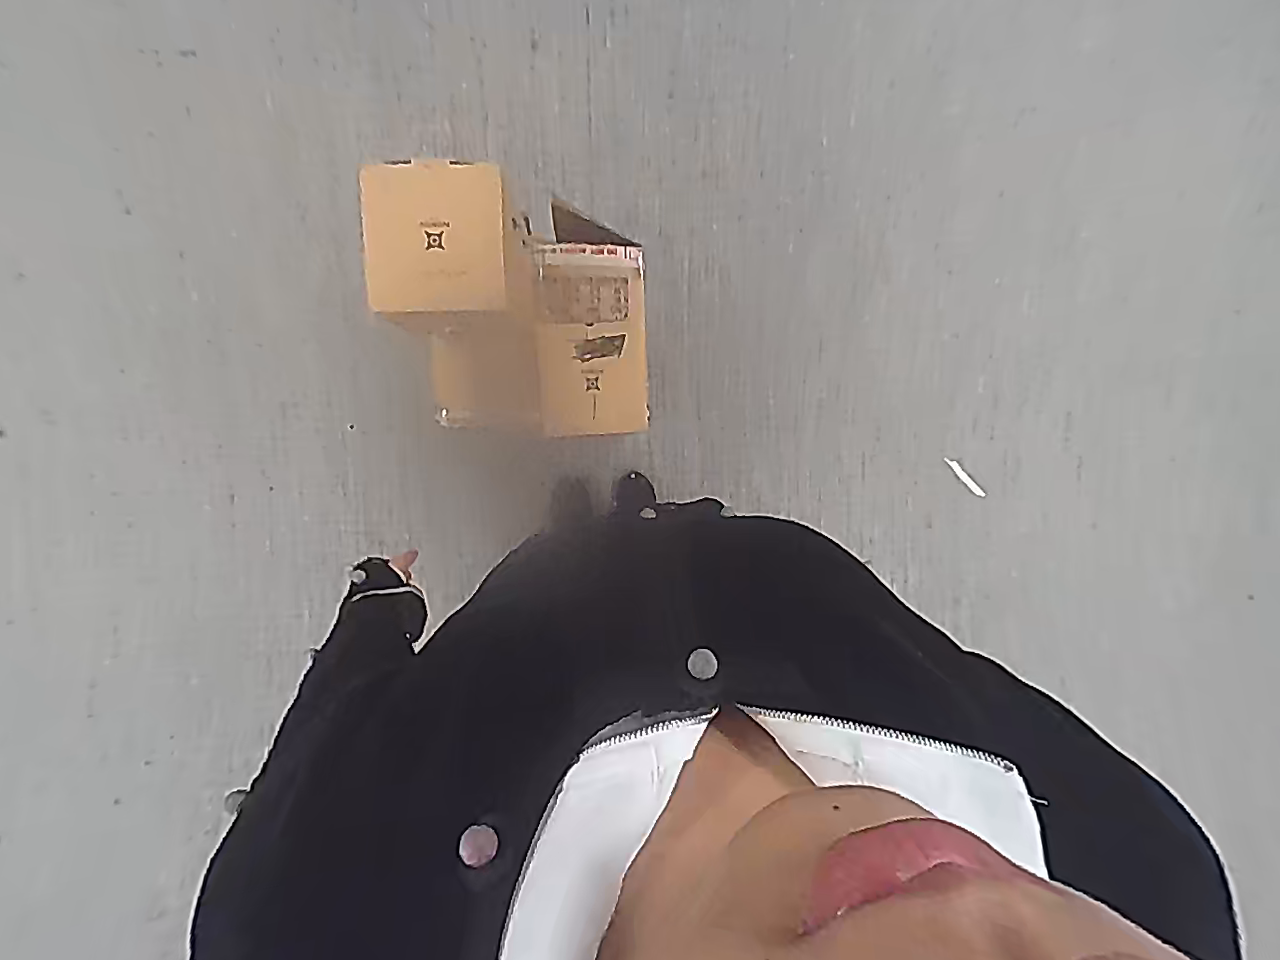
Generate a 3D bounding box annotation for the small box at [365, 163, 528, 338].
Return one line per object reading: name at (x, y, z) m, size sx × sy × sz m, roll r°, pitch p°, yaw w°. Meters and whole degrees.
small box at (-0.246, -0.295, 0.726) m, size 0.168 × 0.176 × 0.179 m, roll -2°, pitch 96°, yaw -3°

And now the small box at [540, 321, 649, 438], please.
small box at (-0.078, -0.162, 0.915) m, size 0.168 × 0.176 × 0.179 m, roll -3°, pitch 96°, yaw -5°

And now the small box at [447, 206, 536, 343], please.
small box at (-0.265, -0.328, 0.886) m, size 0.168 × 0.176 × 0.179 m, roll -2°, pitch 95°, yaw -4°
